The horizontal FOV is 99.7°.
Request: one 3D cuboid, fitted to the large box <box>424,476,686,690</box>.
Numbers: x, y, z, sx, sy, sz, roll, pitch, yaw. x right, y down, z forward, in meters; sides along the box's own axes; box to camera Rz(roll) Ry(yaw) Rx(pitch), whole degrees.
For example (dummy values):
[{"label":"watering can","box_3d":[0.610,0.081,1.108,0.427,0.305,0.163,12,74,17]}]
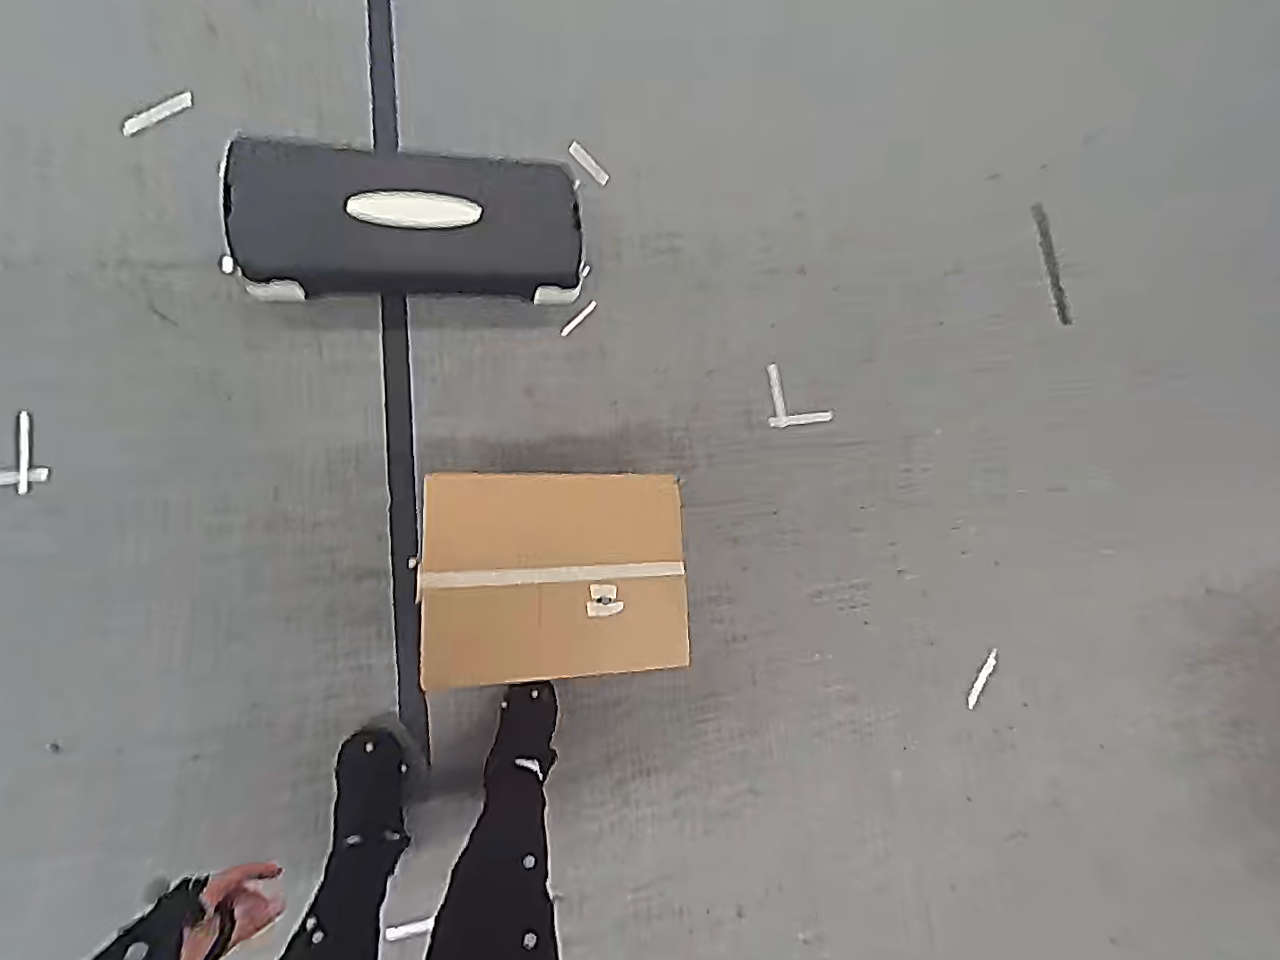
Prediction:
[{"label":"large box","box_3d":[-0.164,0.172,0.984,0.408,0.320,0.320,0,81,-15]}]
